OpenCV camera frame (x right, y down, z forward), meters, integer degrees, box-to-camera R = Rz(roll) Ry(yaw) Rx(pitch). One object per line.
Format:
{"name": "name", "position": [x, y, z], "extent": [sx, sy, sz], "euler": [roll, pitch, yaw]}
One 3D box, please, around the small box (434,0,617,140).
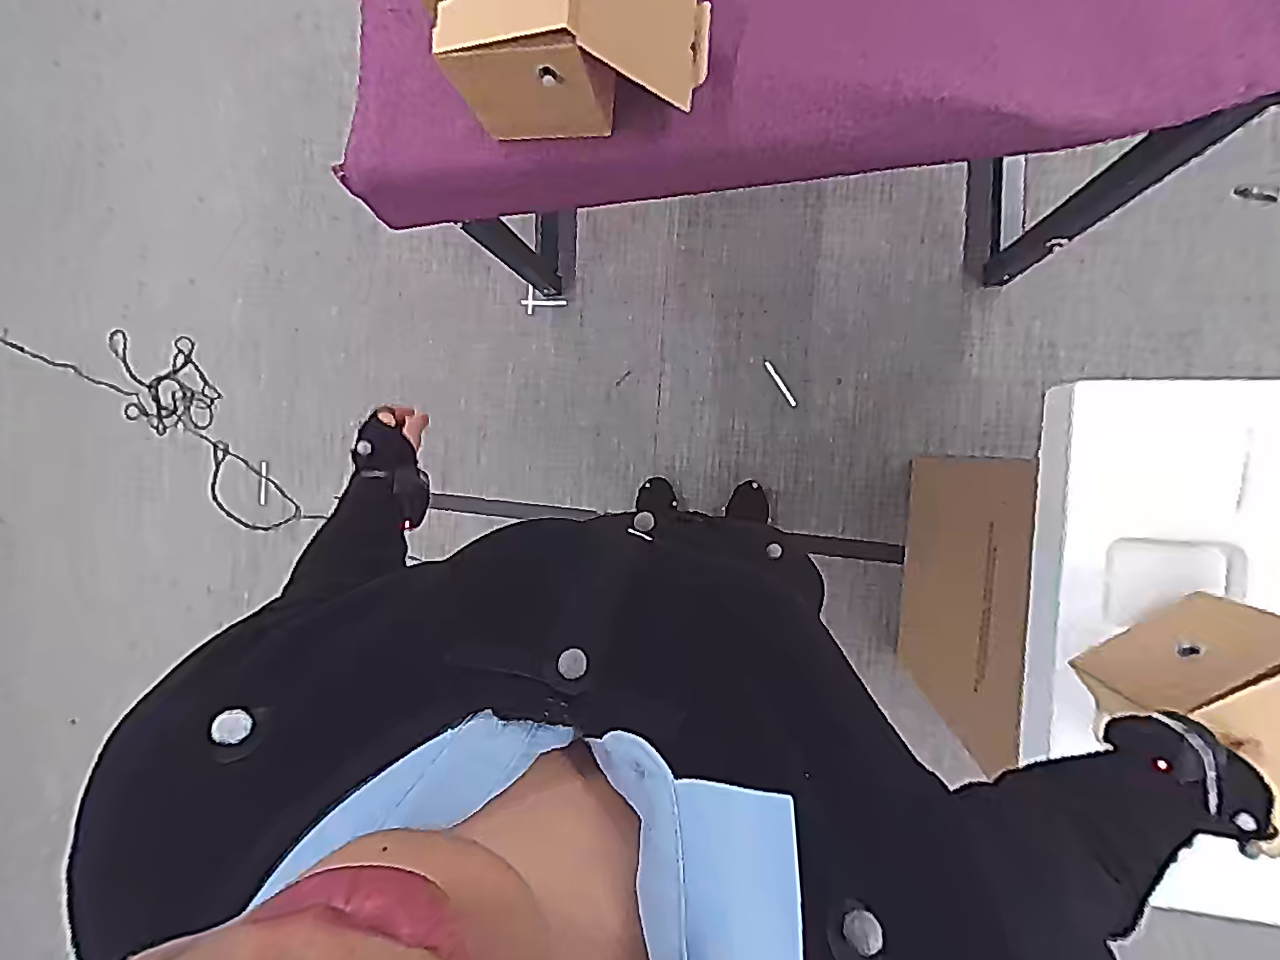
{"name": "small box", "position": [-0.133, -0.563, 0.686], "extent": [0.179, 0.176, 0.168], "euler": [5, 91, 11]}
